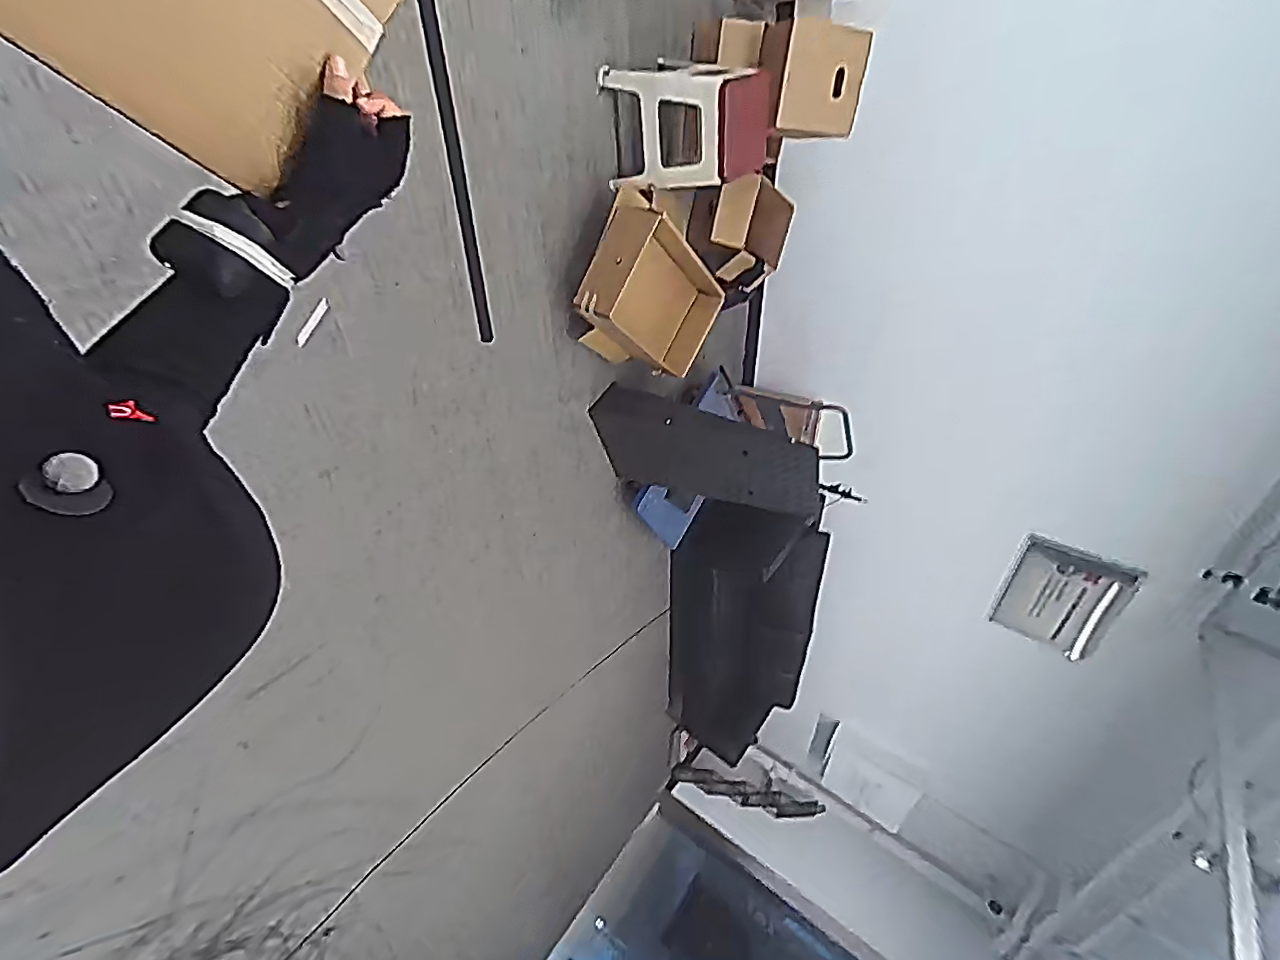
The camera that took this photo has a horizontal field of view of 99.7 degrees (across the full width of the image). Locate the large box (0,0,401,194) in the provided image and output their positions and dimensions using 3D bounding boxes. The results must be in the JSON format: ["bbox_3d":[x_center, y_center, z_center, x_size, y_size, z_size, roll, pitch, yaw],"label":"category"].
[{"bbox_3d":[-0.405,-0.481,0.339,0.320,0.320,0.408,-53,150,5],"label":"large box"}]
